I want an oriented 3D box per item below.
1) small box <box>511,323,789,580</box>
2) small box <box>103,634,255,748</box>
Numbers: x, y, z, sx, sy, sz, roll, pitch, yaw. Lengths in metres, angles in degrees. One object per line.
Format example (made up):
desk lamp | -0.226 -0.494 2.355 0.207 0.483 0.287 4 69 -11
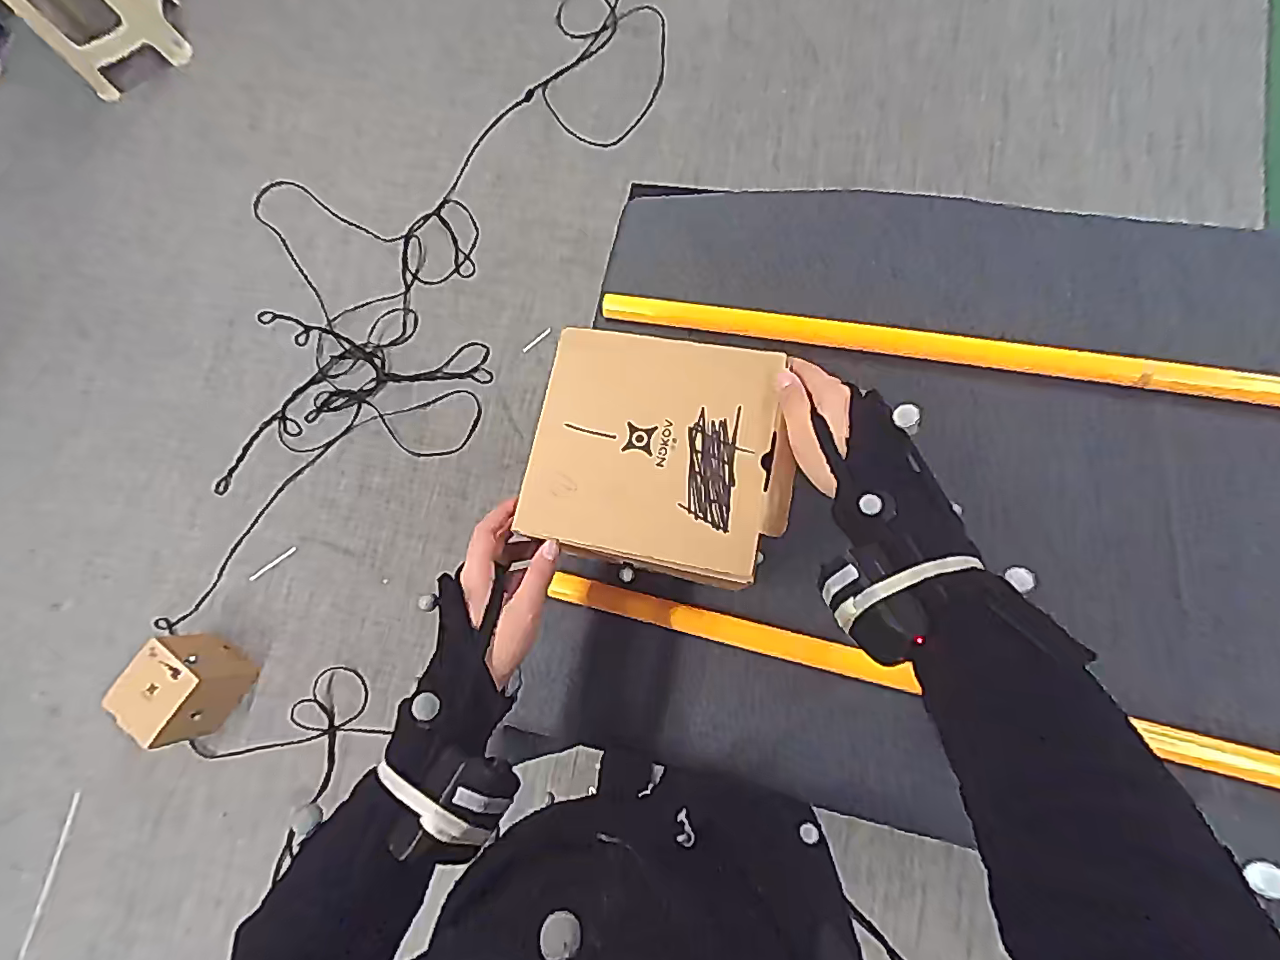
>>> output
small box | 0.017 -0.011 0.468 0.179 0.176 0.168 11 78 10
small box | -1.052 0.476 1.248 0.168 0.176 0.179 32 83 14
